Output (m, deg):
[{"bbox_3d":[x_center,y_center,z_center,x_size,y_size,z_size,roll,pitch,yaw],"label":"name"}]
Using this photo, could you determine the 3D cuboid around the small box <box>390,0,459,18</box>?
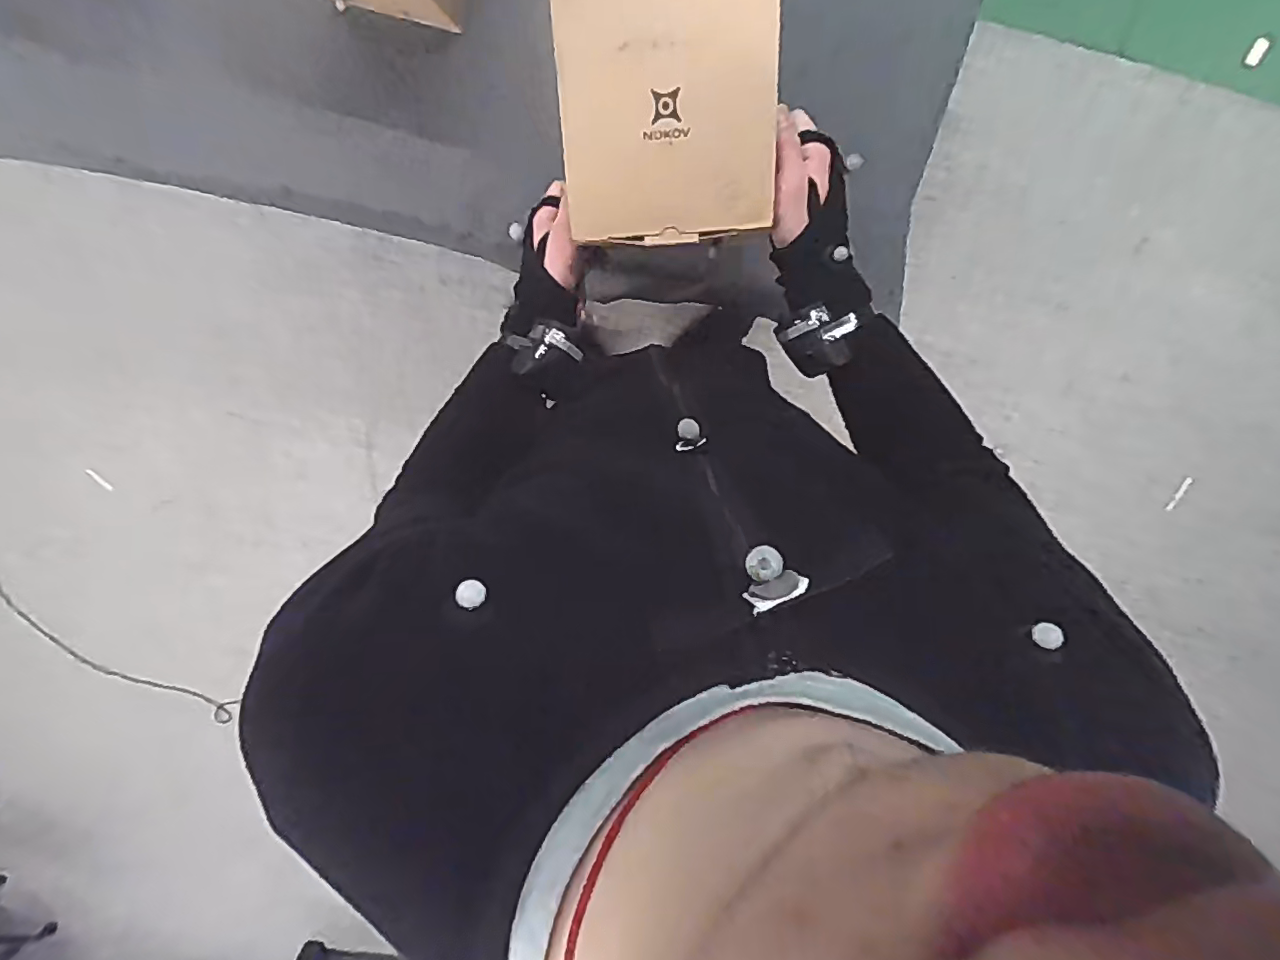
[{"bbox_3d":[-0.275,-0.598,0.523,0.168,0.176,0.179,14,112,-2],"label":"small box"}]

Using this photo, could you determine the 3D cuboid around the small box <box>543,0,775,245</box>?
[{"bbox_3d":[0.023,-0.305,0.473,0.168,0.176,0.179,-1,110,6],"label":"small box"}]
